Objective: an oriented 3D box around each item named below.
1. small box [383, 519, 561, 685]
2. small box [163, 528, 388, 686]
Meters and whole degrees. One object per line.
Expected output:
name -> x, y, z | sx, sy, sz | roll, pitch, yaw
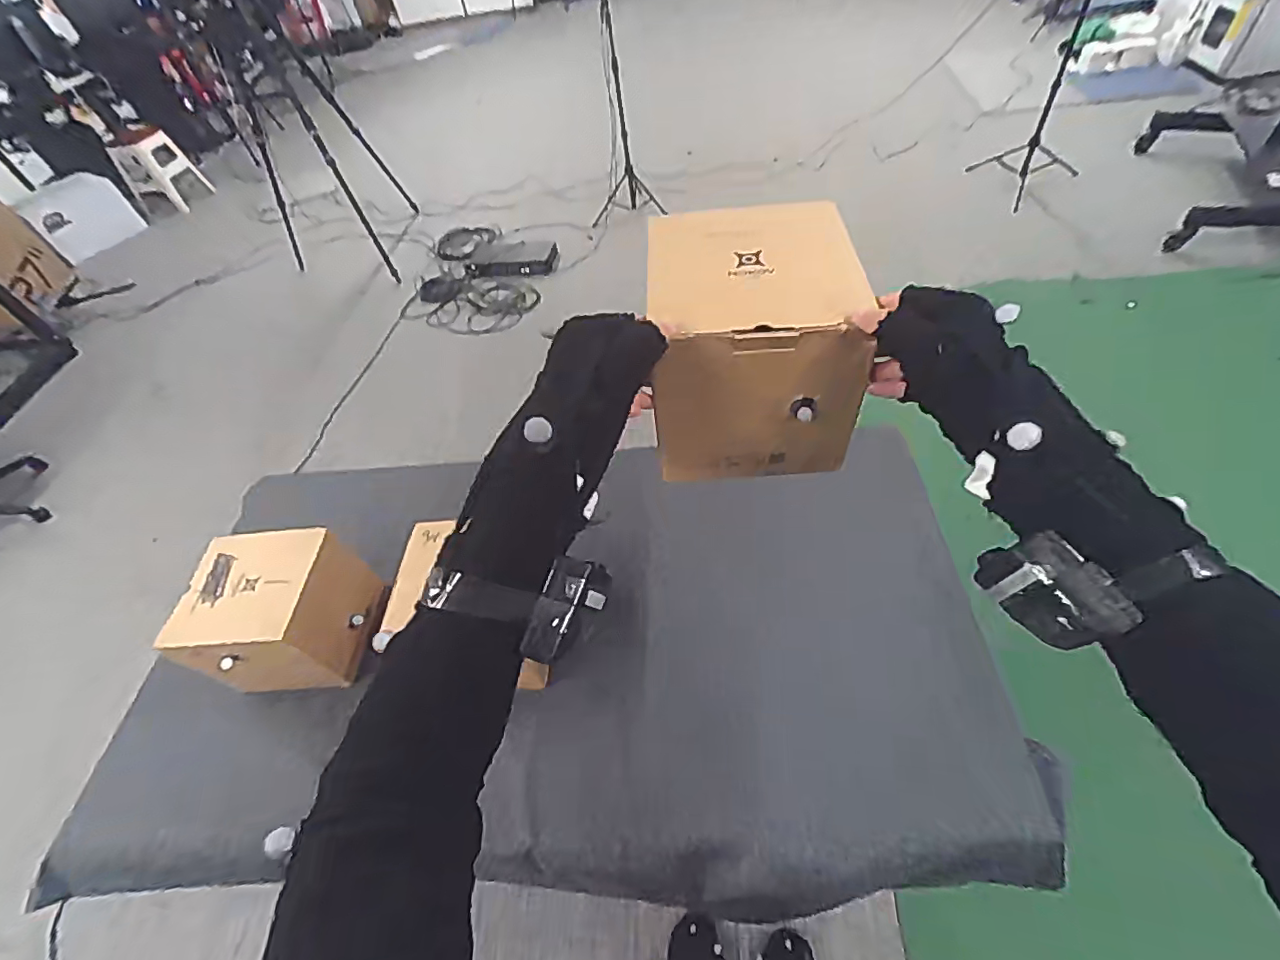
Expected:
small box -> -0.214, 0.174, 0.746 | 0.168, 0.176, 0.179 | -3, 51, 7
small box -> -0.504, 0.188, 0.780 | 0.179, 0.176, 0.168 | -4, 51, 5
